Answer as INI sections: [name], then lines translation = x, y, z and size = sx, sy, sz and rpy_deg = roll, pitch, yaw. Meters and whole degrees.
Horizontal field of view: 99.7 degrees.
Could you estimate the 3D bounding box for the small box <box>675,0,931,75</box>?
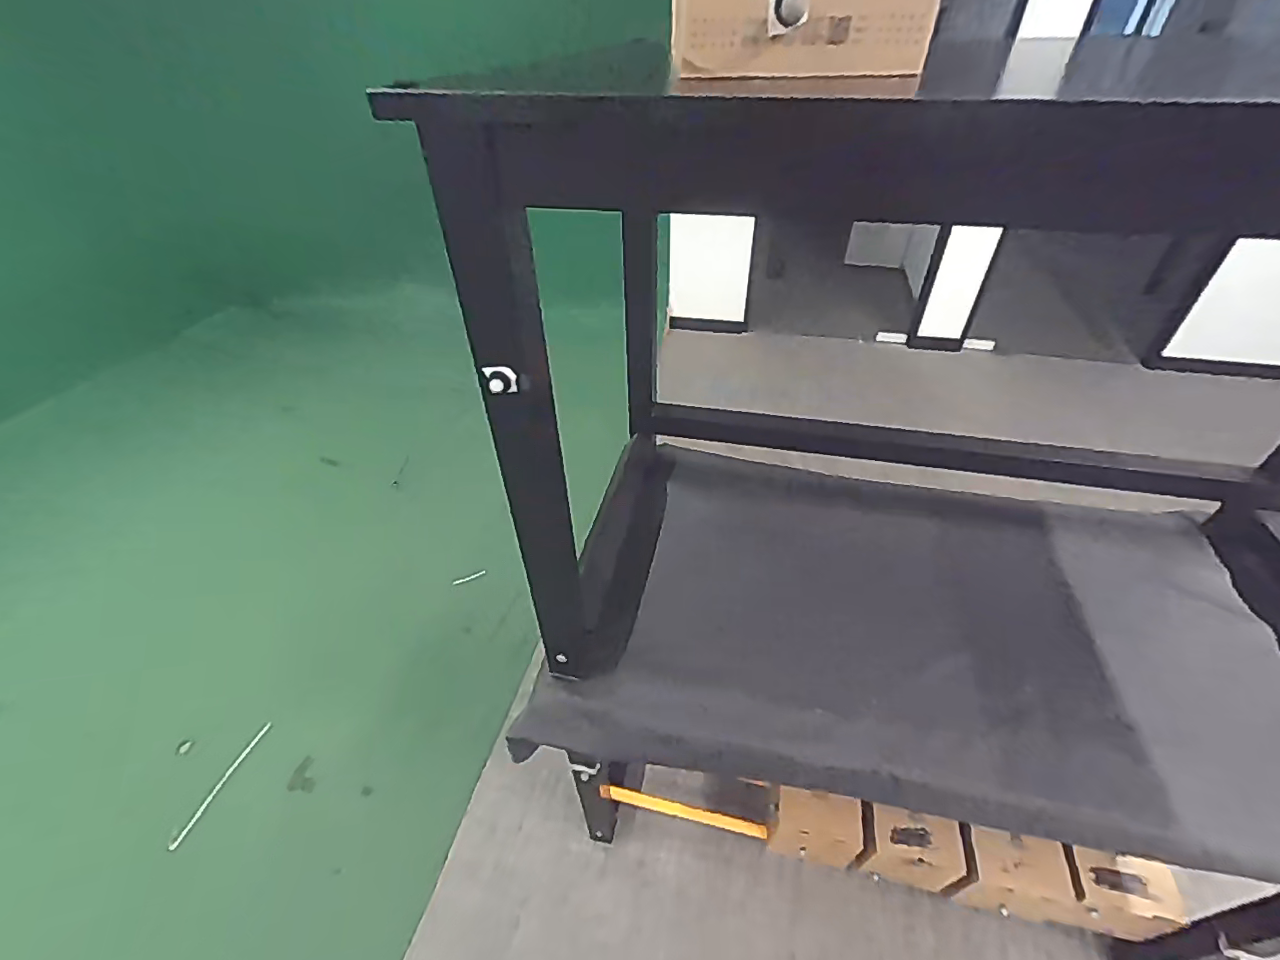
[small box]
translation = 0.109, -0.399, 0.382
size = 0.168, 0.176, 0.179
rpy_deg = -1, 42, 2
